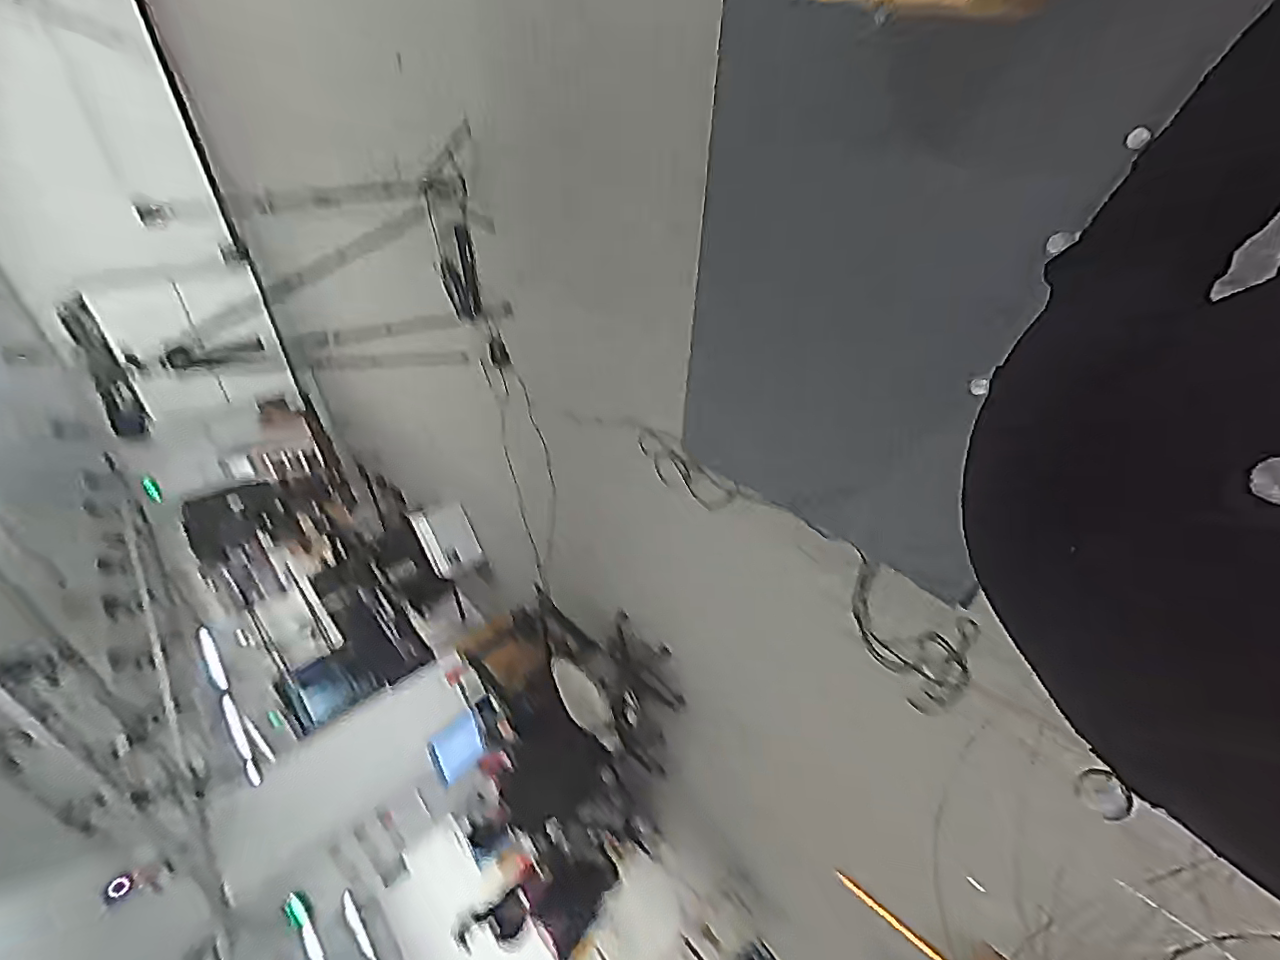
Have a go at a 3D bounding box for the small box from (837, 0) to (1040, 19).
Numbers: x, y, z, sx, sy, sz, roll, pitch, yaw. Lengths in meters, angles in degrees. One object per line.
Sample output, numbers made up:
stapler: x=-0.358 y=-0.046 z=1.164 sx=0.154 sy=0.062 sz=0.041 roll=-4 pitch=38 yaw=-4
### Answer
small box: x=0.276 y=-0.528 z=0.482 sx=0.179 sy=0.176 sz=0.168 roll=37 pitch=139 yaw=32
